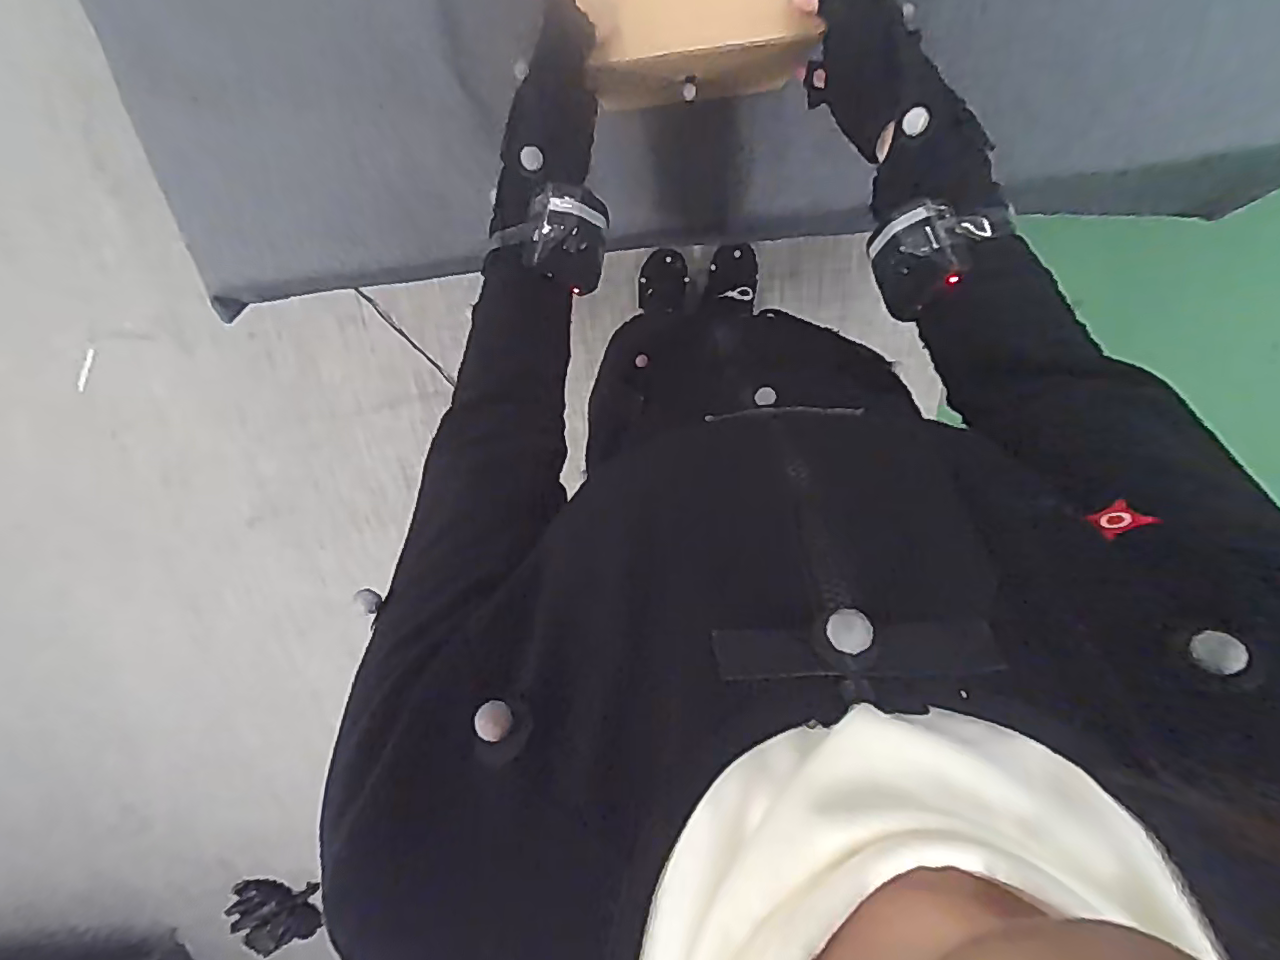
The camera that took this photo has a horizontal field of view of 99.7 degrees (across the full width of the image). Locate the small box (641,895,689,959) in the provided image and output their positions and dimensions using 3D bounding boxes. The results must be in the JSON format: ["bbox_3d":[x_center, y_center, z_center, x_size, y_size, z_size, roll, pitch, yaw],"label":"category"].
[{"bbox_3d":[0.099,1.728,2.070,0.179,0.176,0.168,-2,116,4],"label":"small box"}]

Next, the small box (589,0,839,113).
[{"bbox_3d":[0.044,-0.416,0.430,0.179,0.176,0.168,-8,115,5],"label":"small box"}]
